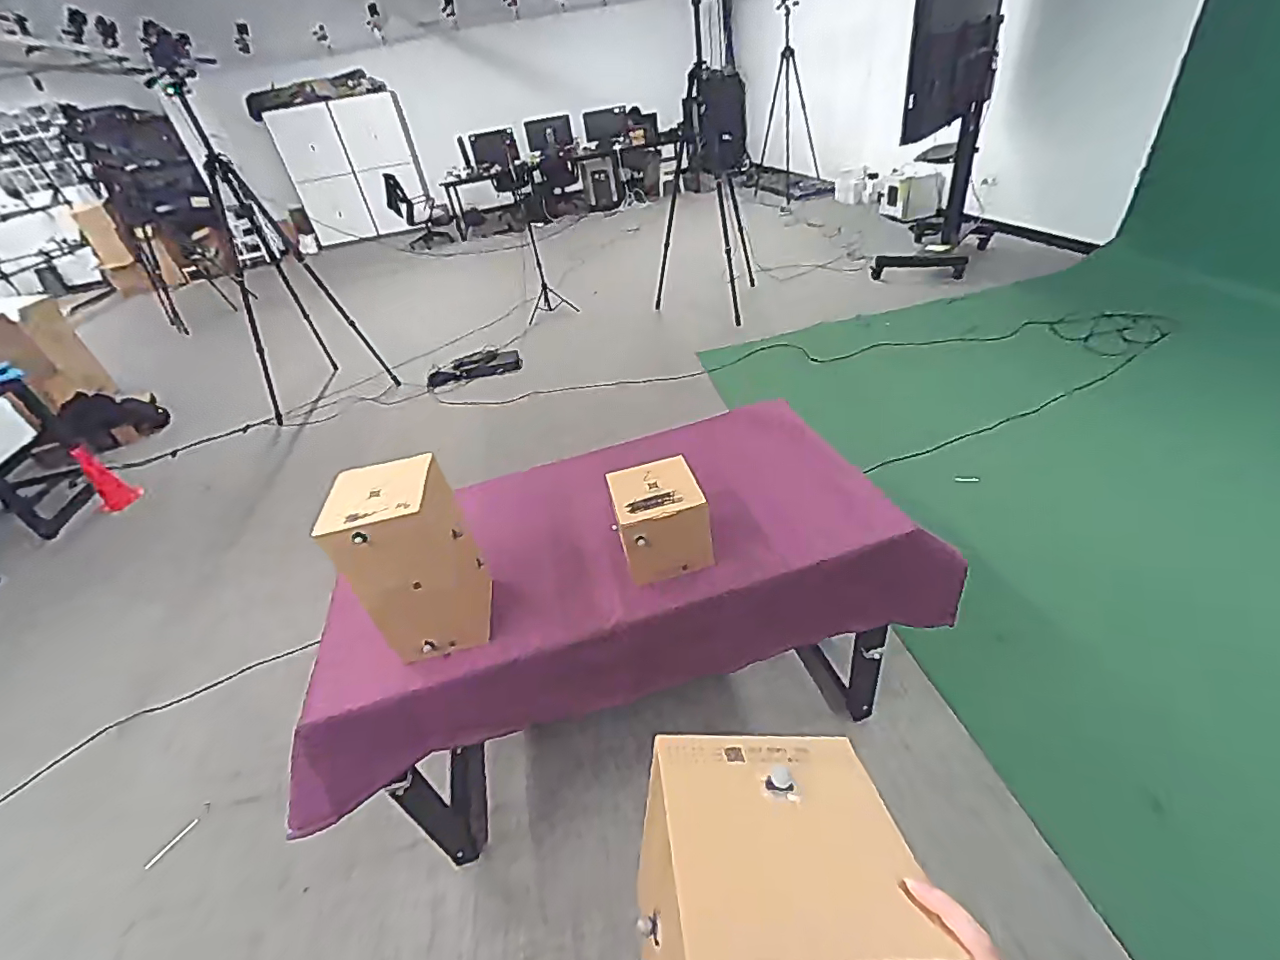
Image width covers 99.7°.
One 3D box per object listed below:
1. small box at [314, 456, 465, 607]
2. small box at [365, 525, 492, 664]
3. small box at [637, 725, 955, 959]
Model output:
[{"bbox_3d":[-0.416,0.087,0.935,0.168,0.176,0.179,-15,35,-2],"label":"small box"},{"bbox_3d":[-0.389,0.218,1.033,0.168,0.176,0.179,-14,37,-3],"label":"small box"},{"bbox_3d":[0.089,0.316,0.405,0.168,0.179,0.176,3,17,-6],"label":"small box"}]
